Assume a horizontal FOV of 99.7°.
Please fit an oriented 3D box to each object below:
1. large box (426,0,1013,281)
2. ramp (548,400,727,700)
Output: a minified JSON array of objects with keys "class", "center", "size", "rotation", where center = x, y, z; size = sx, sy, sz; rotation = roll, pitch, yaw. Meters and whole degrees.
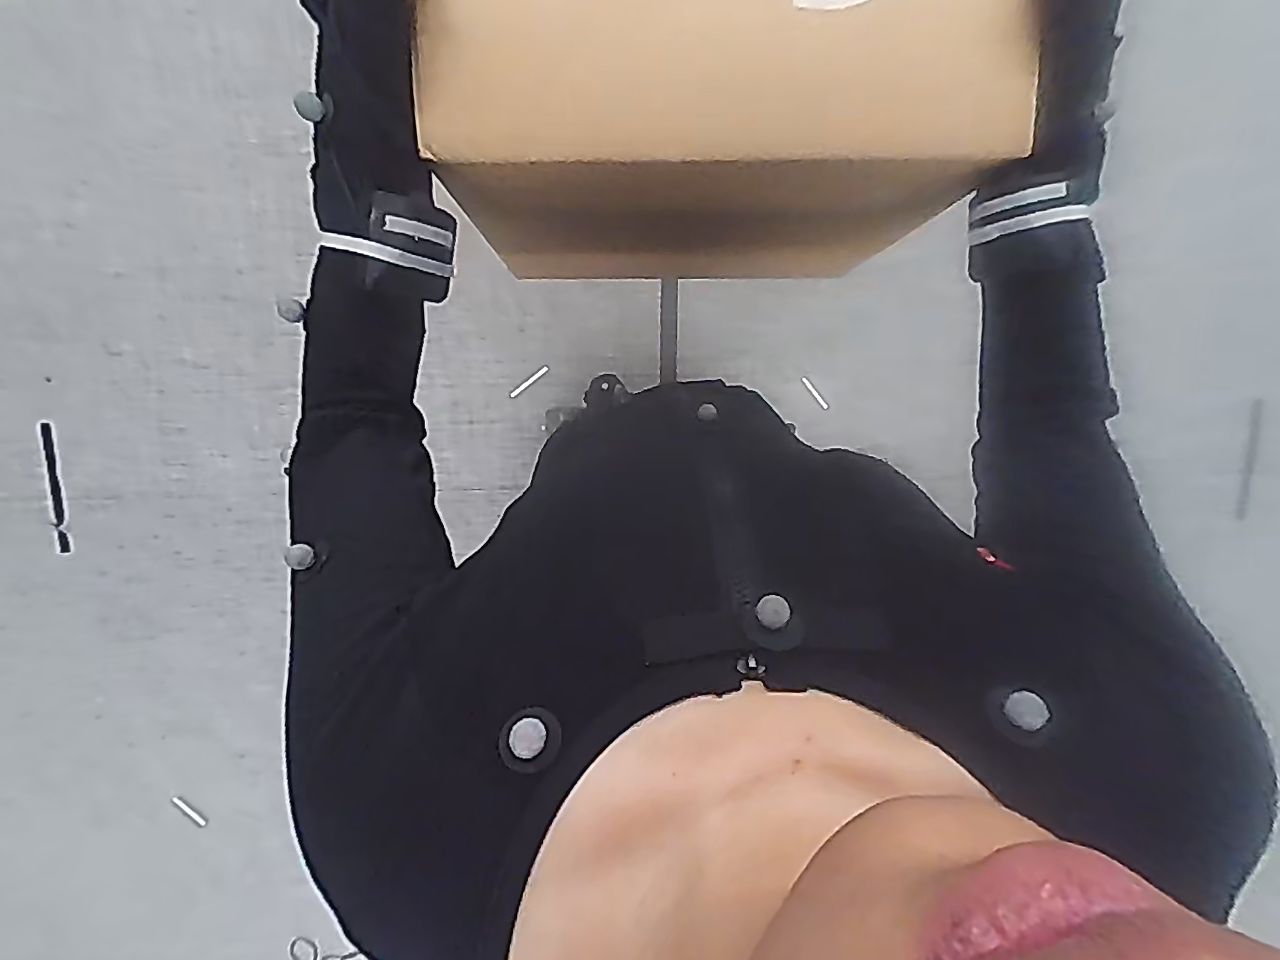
[{"class":"large box","center":[0.047,-0.387,0.505],"size":[0.408,0.320,0.320],"rotation":[-2,97,-2]},{"class":"ramp","center":[0.006,0.255,1.631],"size":[0.509,0.206,0.991],"rotation":[-3,100,-2]}]
